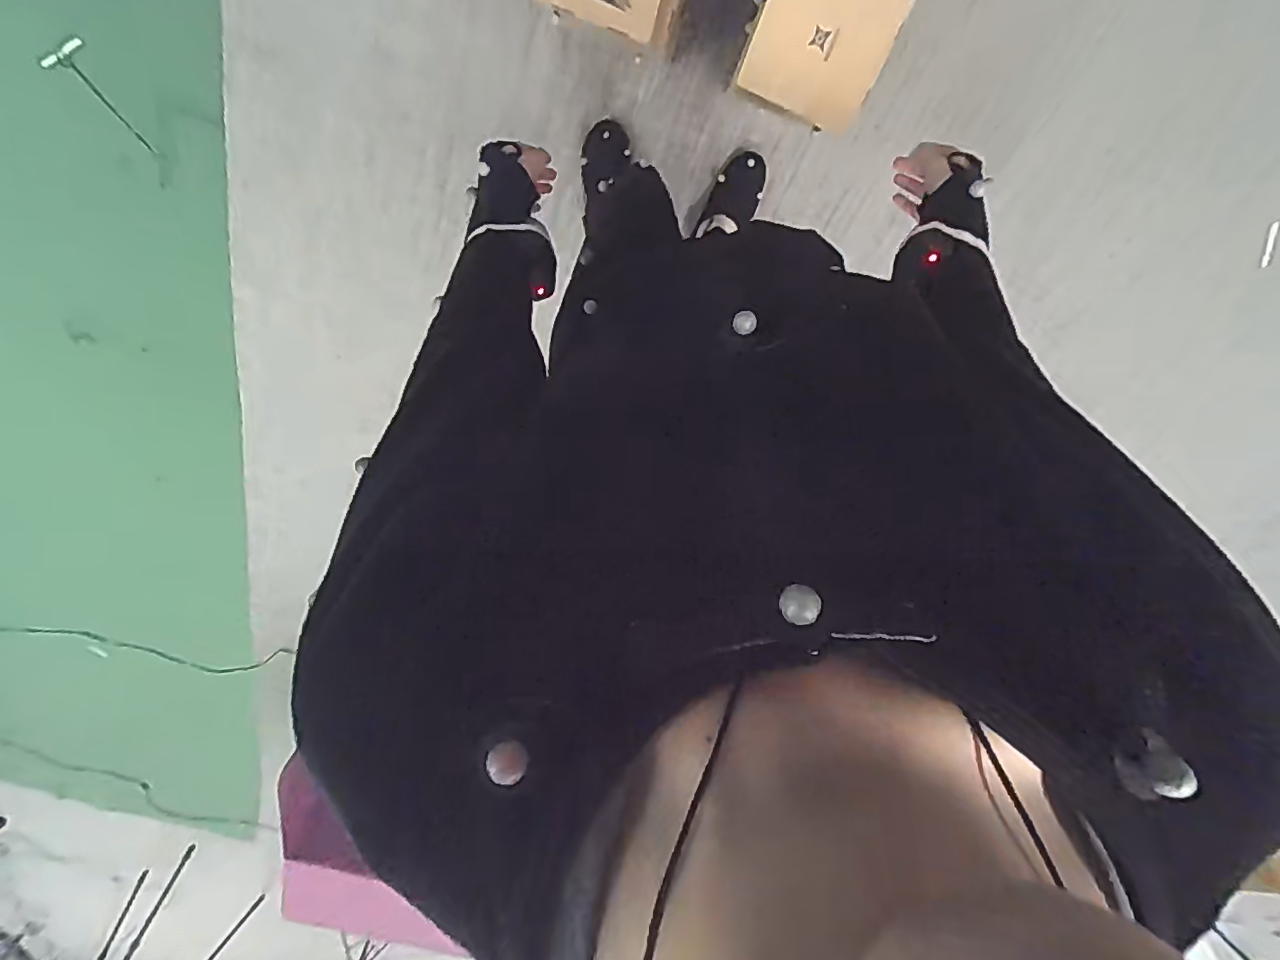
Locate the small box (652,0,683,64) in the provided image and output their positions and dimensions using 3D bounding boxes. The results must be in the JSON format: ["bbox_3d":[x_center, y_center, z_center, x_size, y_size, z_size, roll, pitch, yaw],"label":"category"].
[{"bbox_3d":[-0.012,-0.903,1.007,0.179,0.176,0.168,17,123,-5],"label":"small box"}]

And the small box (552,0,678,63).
[{"bbox_3d":[-0.025,-0.805,0.877,0.179,0.176,0.168,18,123,-5],"label":"small box"}]

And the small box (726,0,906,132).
[{"bbox_3d":[0.235,-0.623,0.776,0.179,0.176,0.168,19,122,-8],"label":"small box"}]
